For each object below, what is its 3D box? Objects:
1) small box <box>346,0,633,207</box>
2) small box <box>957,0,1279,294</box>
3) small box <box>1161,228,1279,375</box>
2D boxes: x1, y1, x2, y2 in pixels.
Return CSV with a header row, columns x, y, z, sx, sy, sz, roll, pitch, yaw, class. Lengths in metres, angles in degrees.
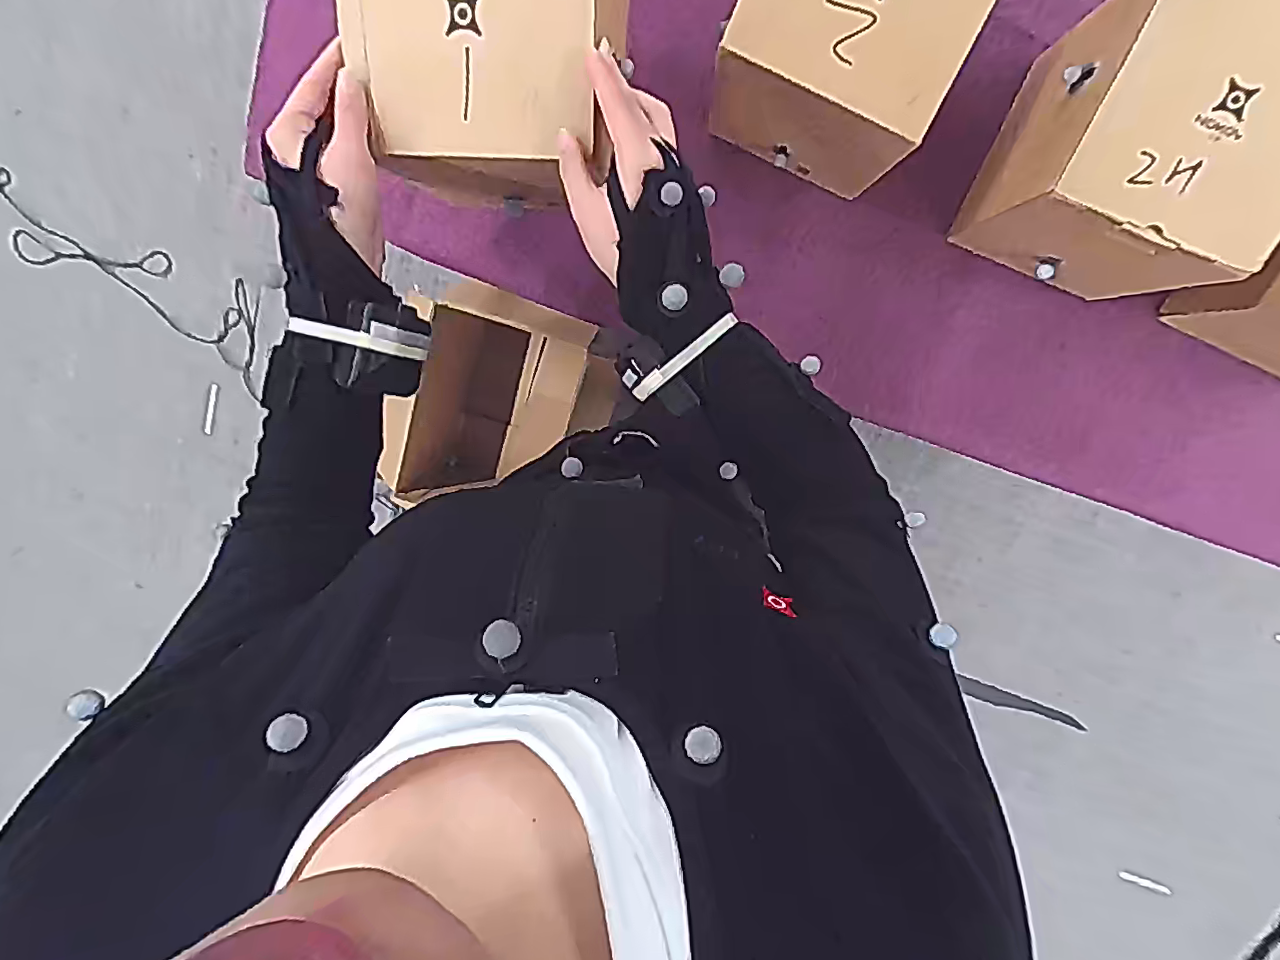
x,y,z,sx,sy,sz,roll,pitch,yaw,class
-0.096,-0.323,0.408,0.168,0.176,0.179,5,107,3,small box
0.414,-0.278,0.458,0.168,0.176,0.179,23,104,-1,small box
0.638,-0.188,0.466,0.179,0.176,0.168,25,103,-1,small box
